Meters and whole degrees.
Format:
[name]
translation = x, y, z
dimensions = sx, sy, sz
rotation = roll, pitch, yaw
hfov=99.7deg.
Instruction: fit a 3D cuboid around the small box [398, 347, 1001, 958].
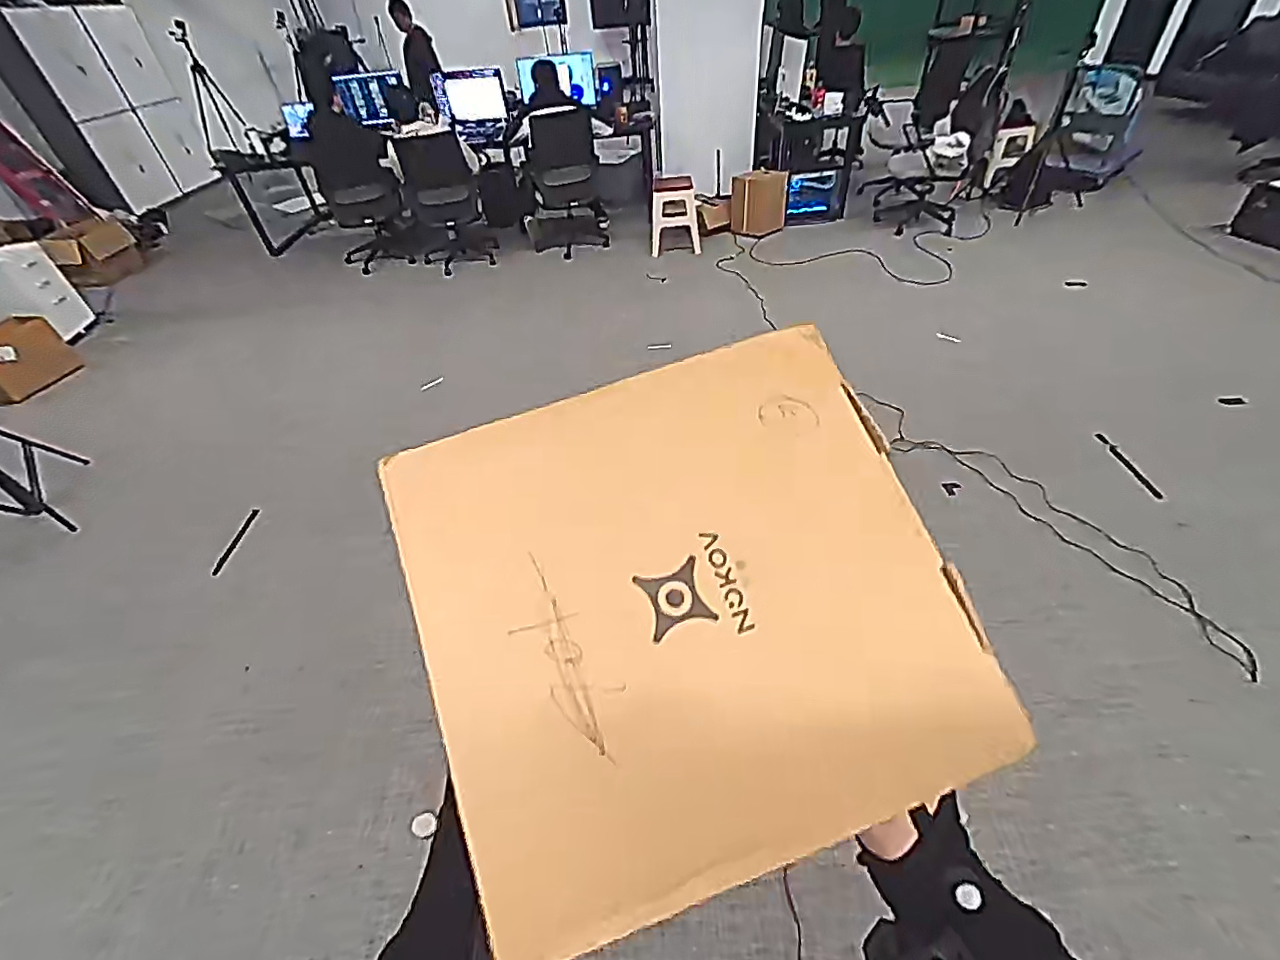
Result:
[small box]
translation = 0.014, 0.068, 0.270
dimensions = 0.179, 0.176, 0.168
rotation = -20, 72, -6
